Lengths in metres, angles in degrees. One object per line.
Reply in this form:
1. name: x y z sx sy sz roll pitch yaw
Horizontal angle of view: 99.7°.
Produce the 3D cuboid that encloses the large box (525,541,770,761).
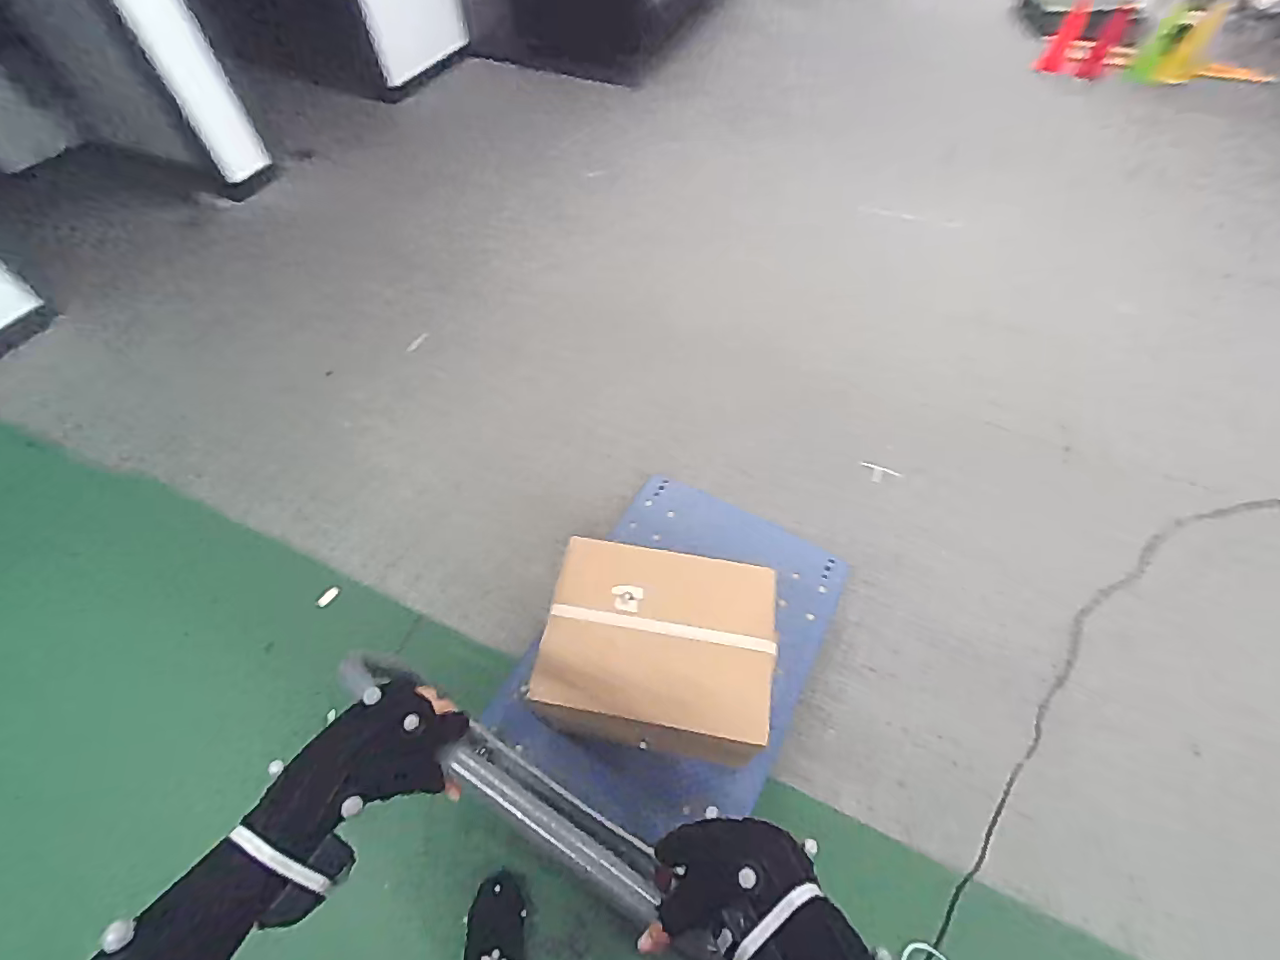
1. large box: 0.032 0.352 1.089 0.408 0.320 0.320 8 56 7
